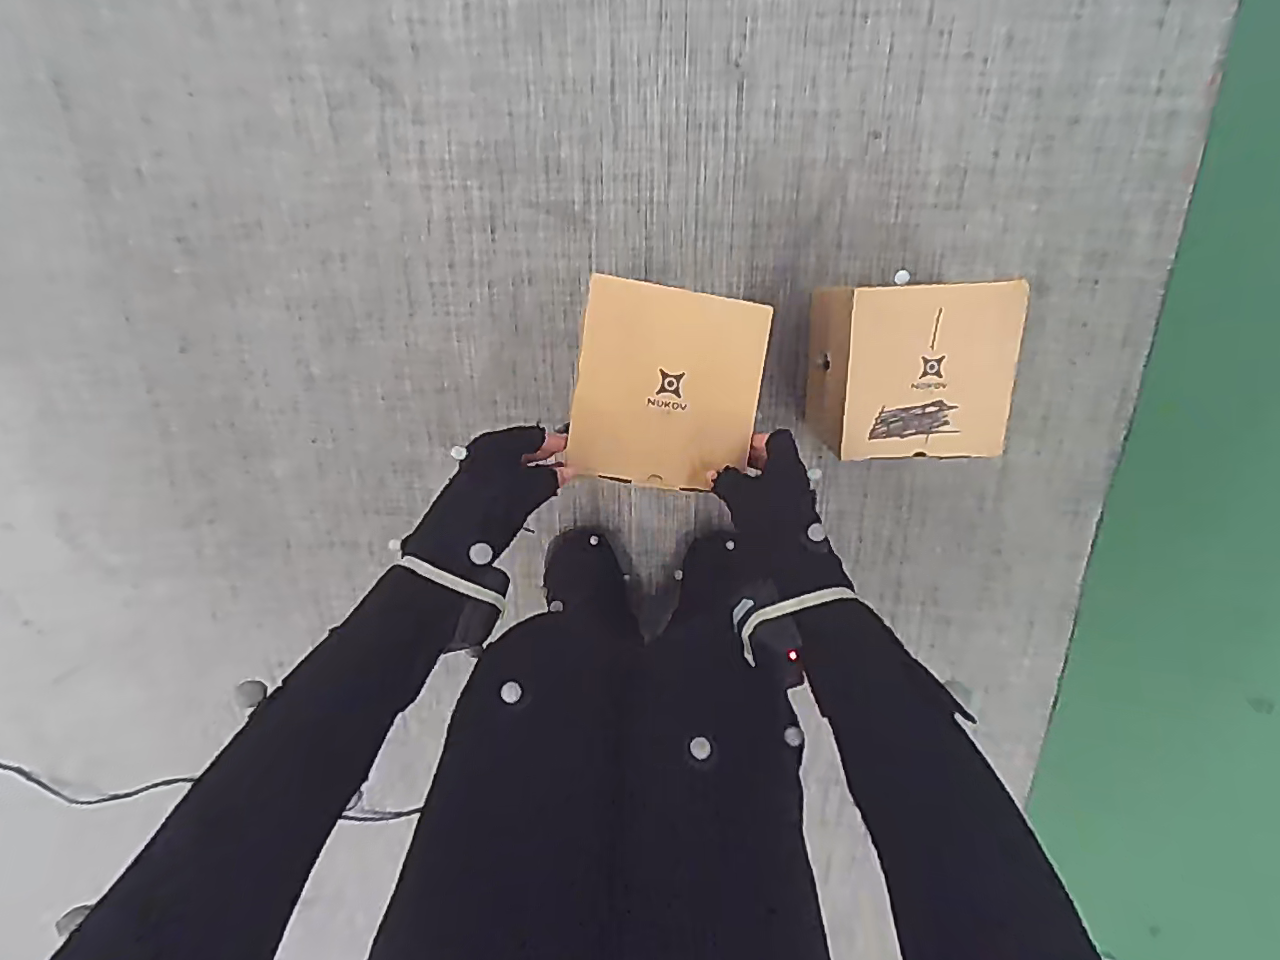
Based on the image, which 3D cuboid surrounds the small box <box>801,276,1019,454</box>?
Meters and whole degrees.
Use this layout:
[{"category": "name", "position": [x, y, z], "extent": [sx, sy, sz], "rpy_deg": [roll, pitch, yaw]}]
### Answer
[{"category": "small box", "position": [0.285, -0.136, 0.617], "extent": [0.168, 0.176, 0.179], "rpy_deg": [-1, 108, 4]}]

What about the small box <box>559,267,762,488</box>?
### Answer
[{"category": "small box", "position": [0.009, -0.096, 0.558], "extent": [0.168, 0.176, 0.179], "rpy_deg": [7, 96, -8]}]
